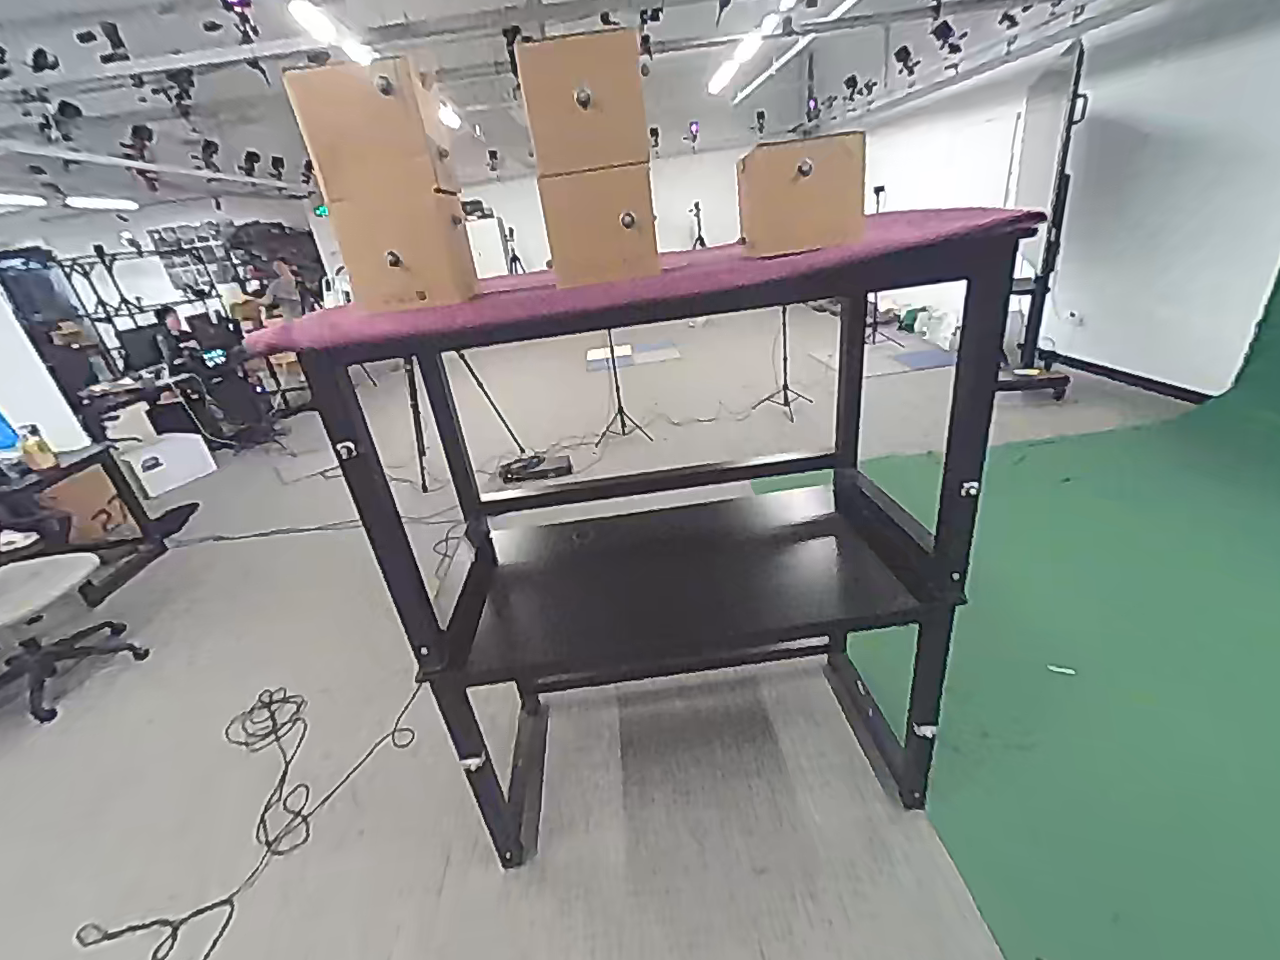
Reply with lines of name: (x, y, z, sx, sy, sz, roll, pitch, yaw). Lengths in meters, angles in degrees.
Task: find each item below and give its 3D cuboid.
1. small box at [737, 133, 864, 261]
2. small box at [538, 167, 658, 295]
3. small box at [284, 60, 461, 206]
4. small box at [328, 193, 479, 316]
small box: (0.277, -0.485, 0.951, 0.179, 0.176, 0.168, -7, 23, 1)
small box: (-0.066, -0.424, 0.928, 0.179, 0.176, 0.168, -9, 25, -1)
small box: (-0.401, -0.524, 0.845, 0.179, 0.176, 0.168, -8, 27, -3)
small box: (-0.384, -0.379, 0.916, 0.168, 0.176, 0.179, -7, 26, -2)
